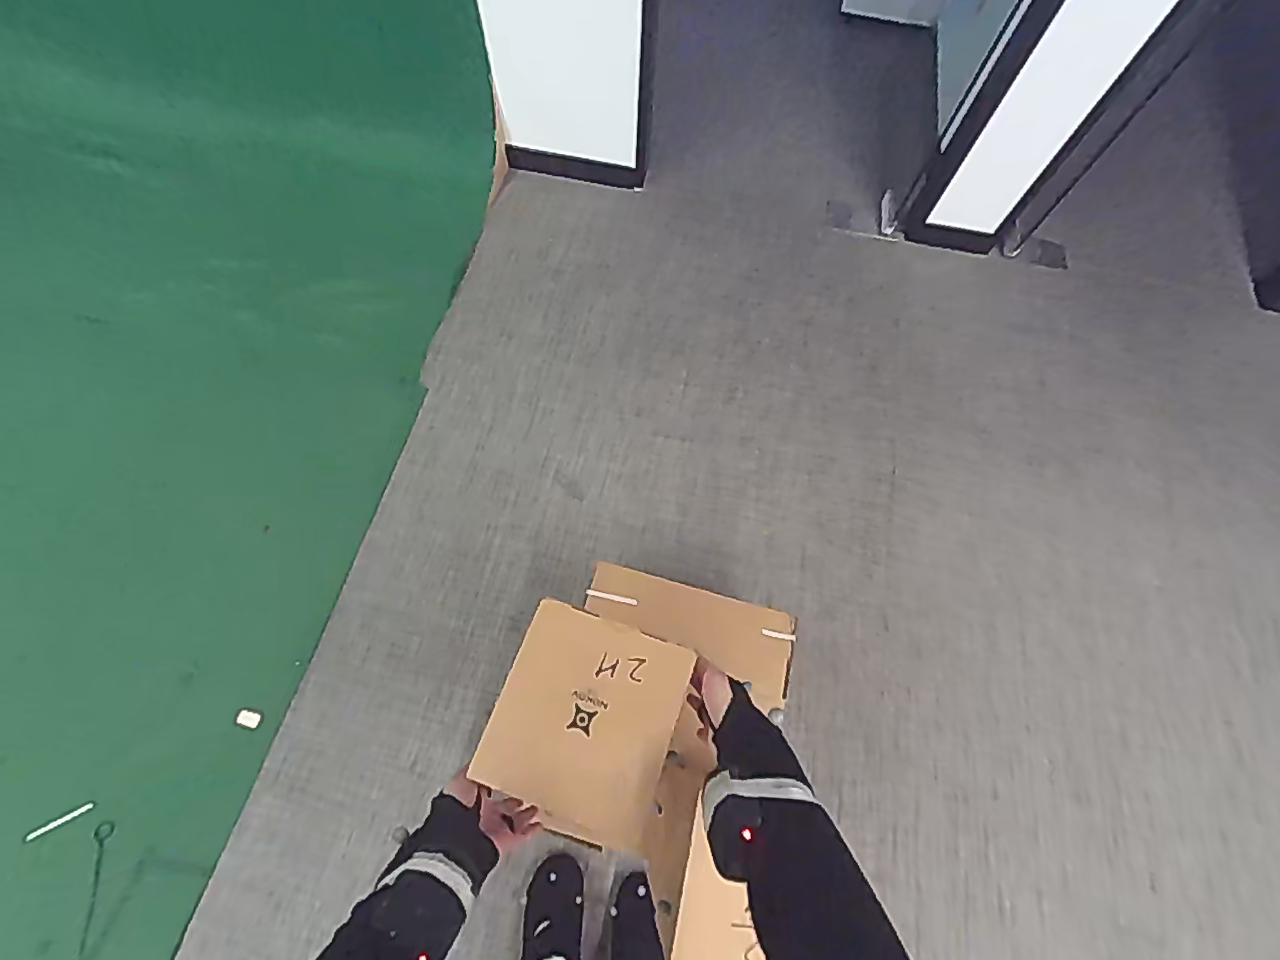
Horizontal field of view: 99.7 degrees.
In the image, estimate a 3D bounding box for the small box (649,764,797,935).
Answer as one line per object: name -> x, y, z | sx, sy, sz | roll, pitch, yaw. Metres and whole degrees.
small box -> 0.119, 0.540, 0.817 | 0.179, 0.176, 0.168 | 13, 65, 2
